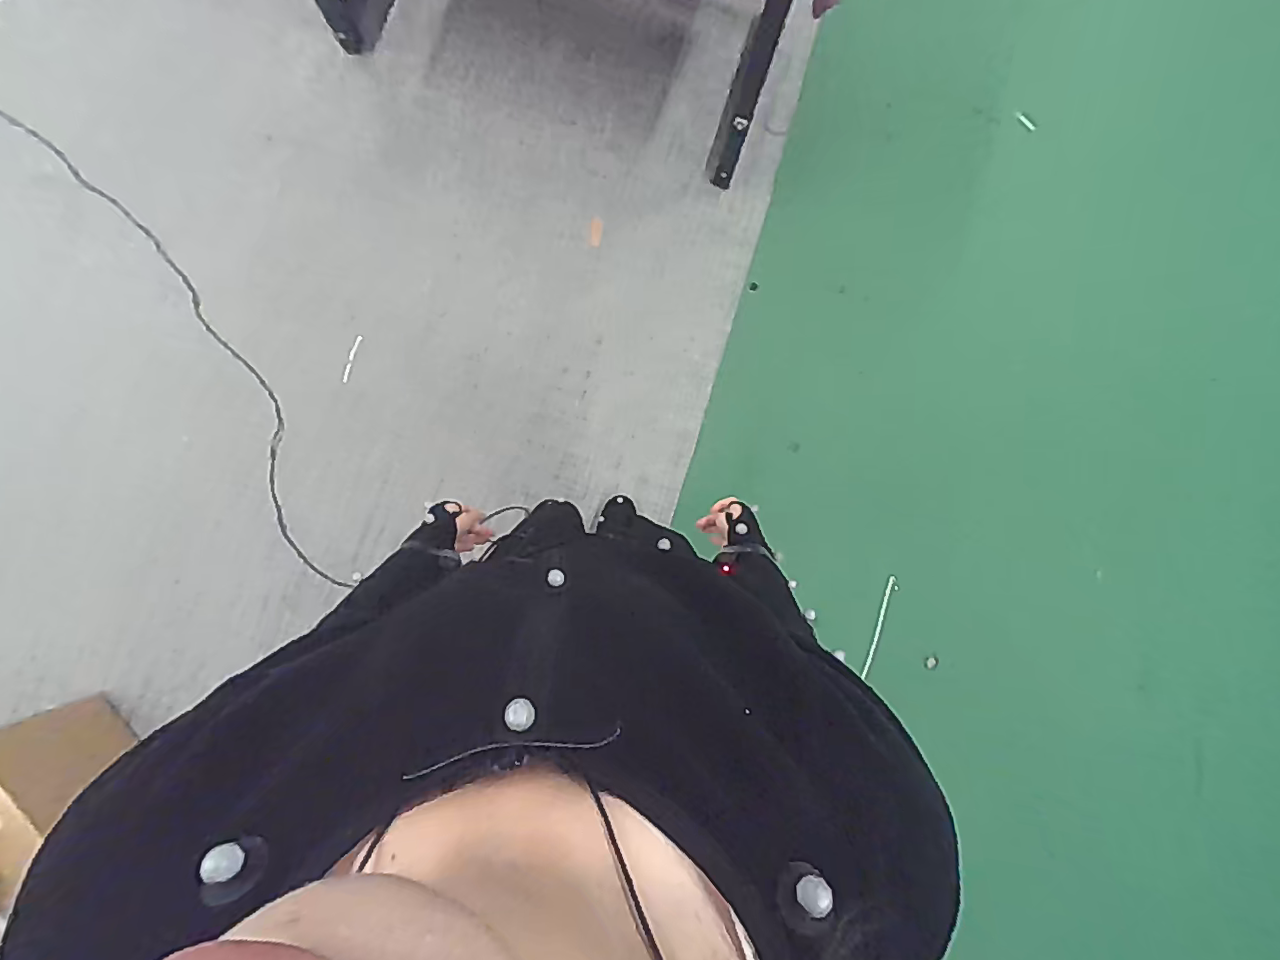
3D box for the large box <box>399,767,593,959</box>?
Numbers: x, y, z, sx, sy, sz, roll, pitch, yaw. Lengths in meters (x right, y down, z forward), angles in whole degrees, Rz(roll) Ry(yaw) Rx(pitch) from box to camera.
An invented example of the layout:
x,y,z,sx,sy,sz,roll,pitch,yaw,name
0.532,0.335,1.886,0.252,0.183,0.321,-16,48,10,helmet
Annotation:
x,y,z,sx,sy,sz,roll,pitch,yaw,name
-0.323,0.922,1.310,0.408,0.320,0.320,3,88,-5,large box
